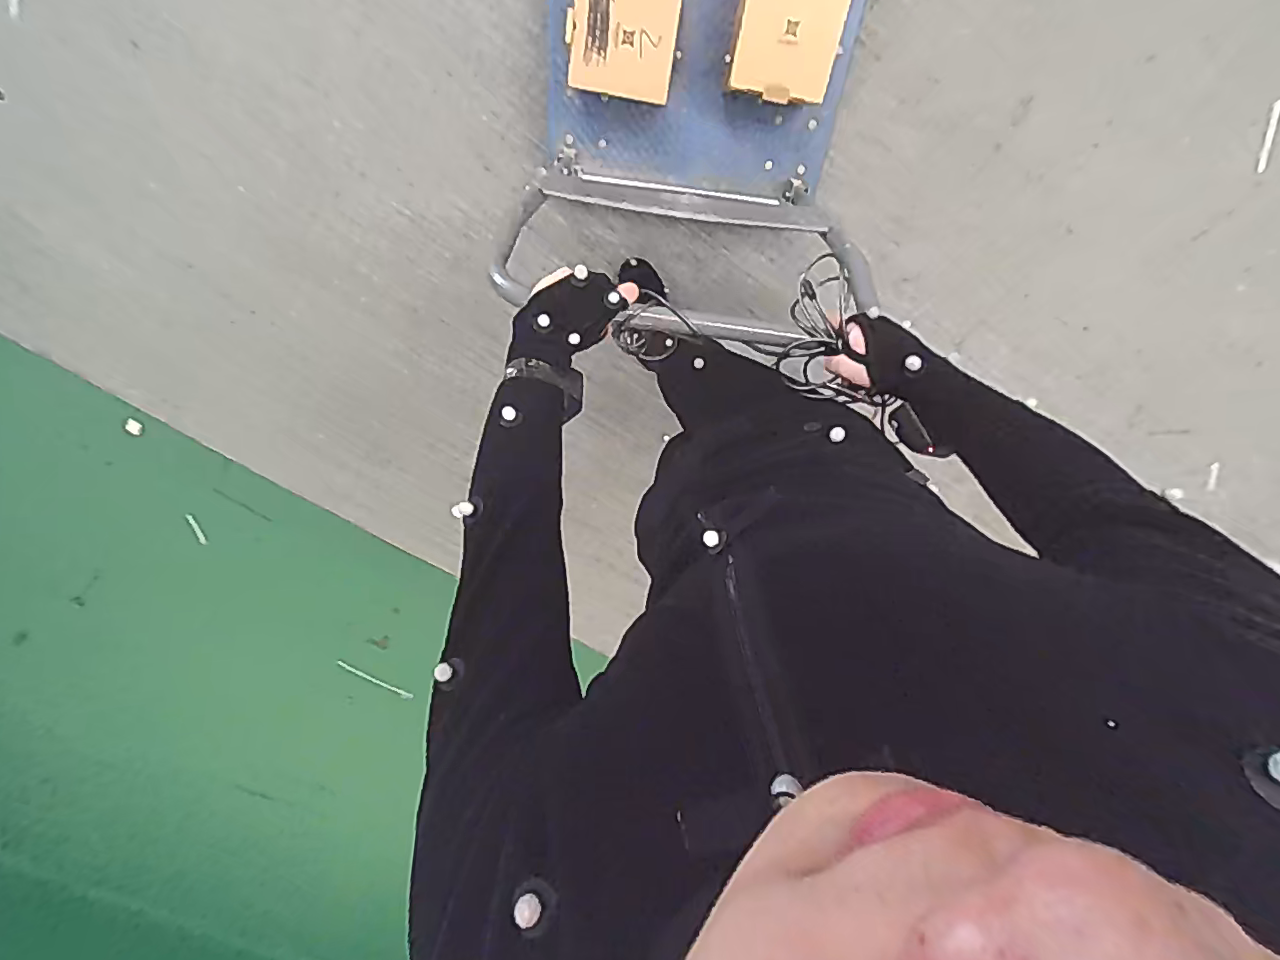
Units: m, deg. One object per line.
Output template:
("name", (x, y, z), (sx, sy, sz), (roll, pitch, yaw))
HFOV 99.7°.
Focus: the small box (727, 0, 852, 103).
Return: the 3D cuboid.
("small box", (0.251, -0.776, 0.939), (0.168, 0.176, 0.179), (9, 126, -2))
